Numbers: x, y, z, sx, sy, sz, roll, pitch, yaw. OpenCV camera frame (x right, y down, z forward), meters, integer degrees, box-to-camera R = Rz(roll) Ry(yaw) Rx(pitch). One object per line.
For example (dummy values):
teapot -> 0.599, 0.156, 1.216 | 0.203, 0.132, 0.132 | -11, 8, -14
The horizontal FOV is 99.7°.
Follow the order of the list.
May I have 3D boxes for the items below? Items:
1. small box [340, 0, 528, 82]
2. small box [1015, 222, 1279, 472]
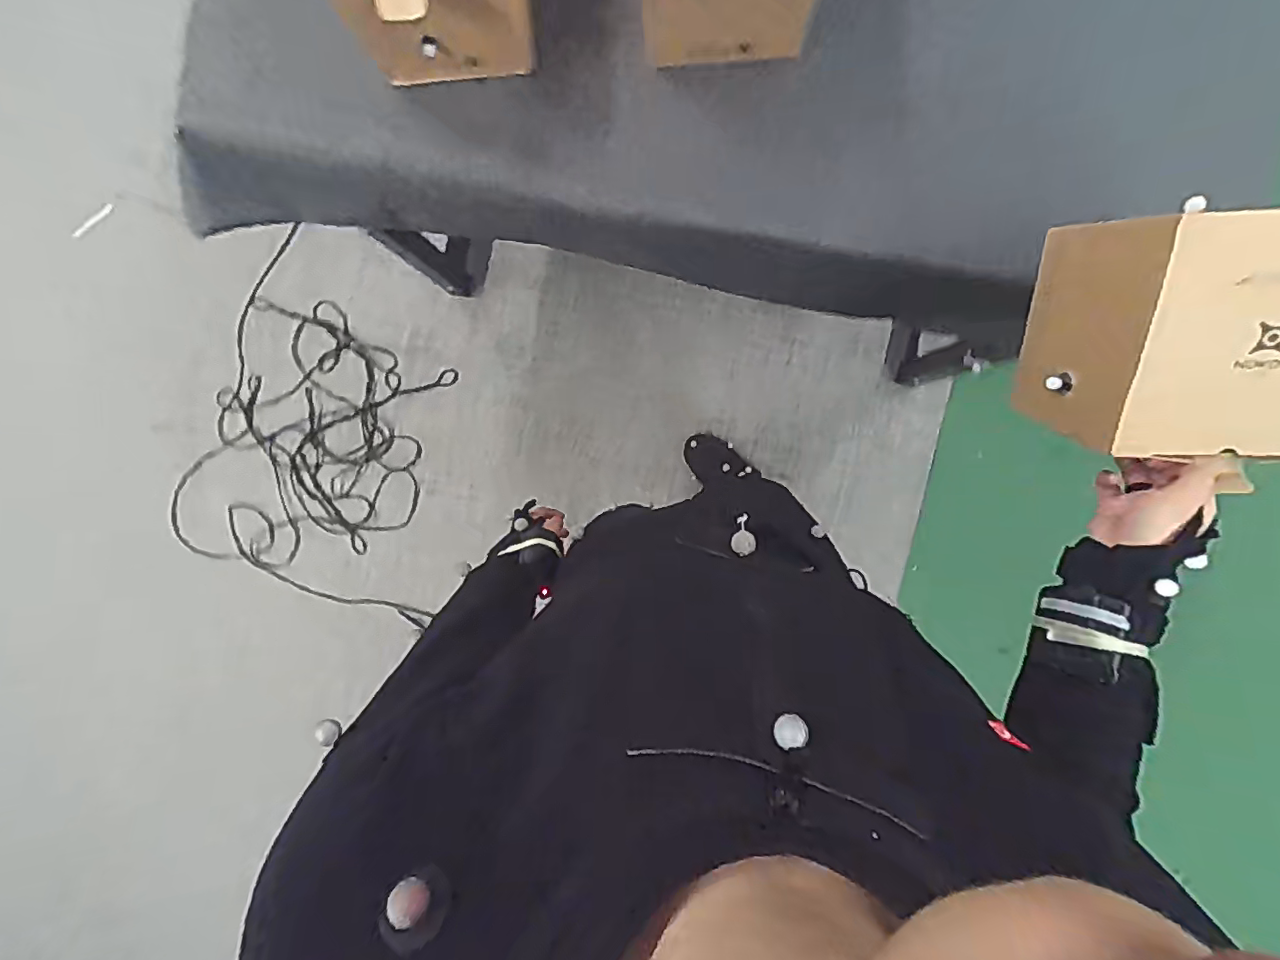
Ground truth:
small box -> -0.213, -0.535, 0.524 | 0.168, 0.176, 0.179 | -4, 93, 3
small box -> 0.454, -0.117, 0.455 | 0.168, 0.176, 0.179 | 1, 111, 8
